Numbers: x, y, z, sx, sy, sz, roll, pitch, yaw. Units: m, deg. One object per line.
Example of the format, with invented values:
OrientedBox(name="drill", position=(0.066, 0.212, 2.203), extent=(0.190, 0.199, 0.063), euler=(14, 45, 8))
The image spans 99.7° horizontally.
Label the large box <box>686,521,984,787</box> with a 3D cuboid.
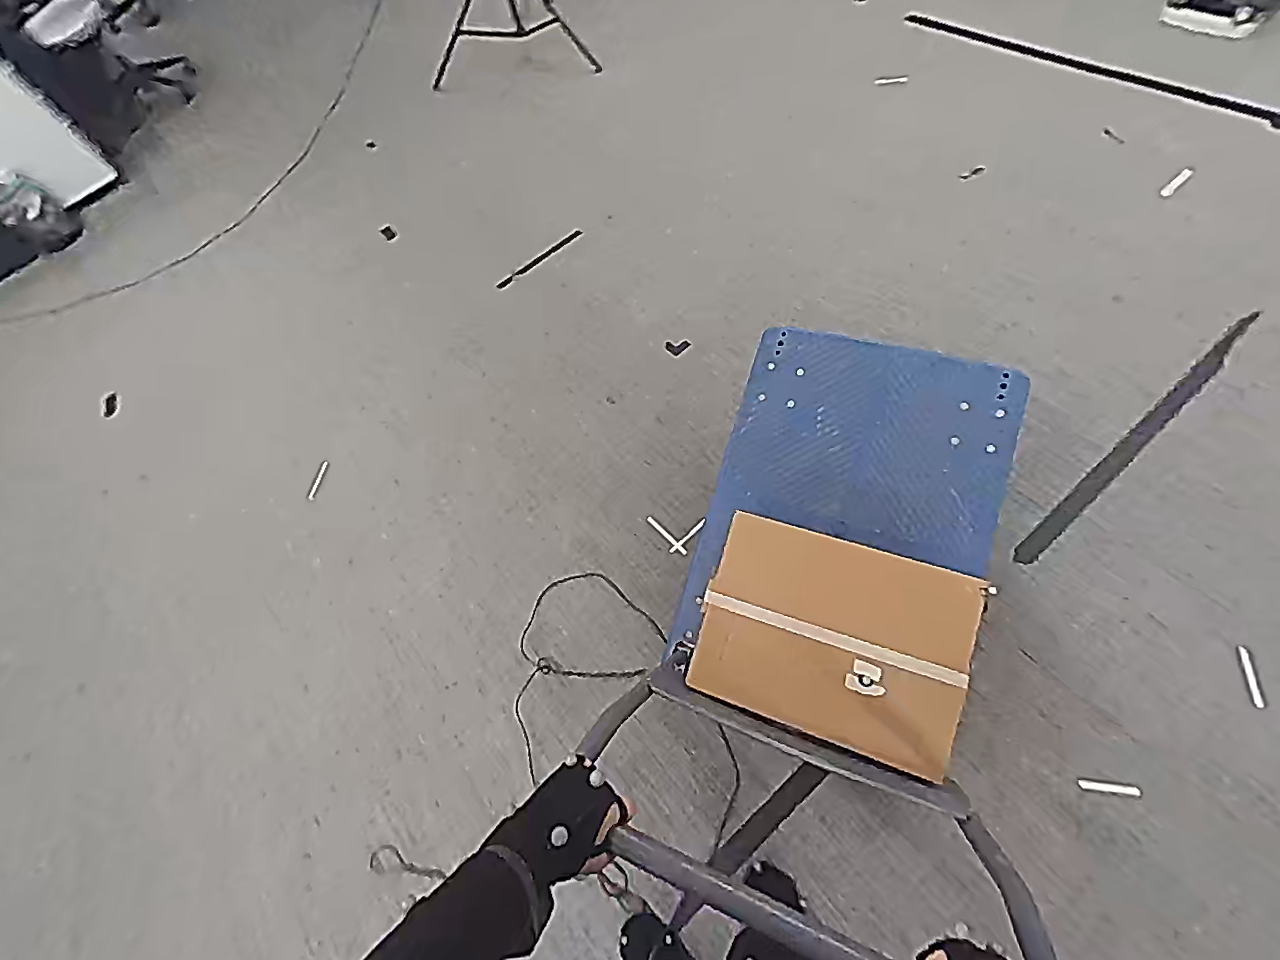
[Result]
OrientedBox(name="large box", position=(0.334, 0.289, 1.003), extent=(0.408, 0.320, 0.320), euler=(15, 84, 17))
